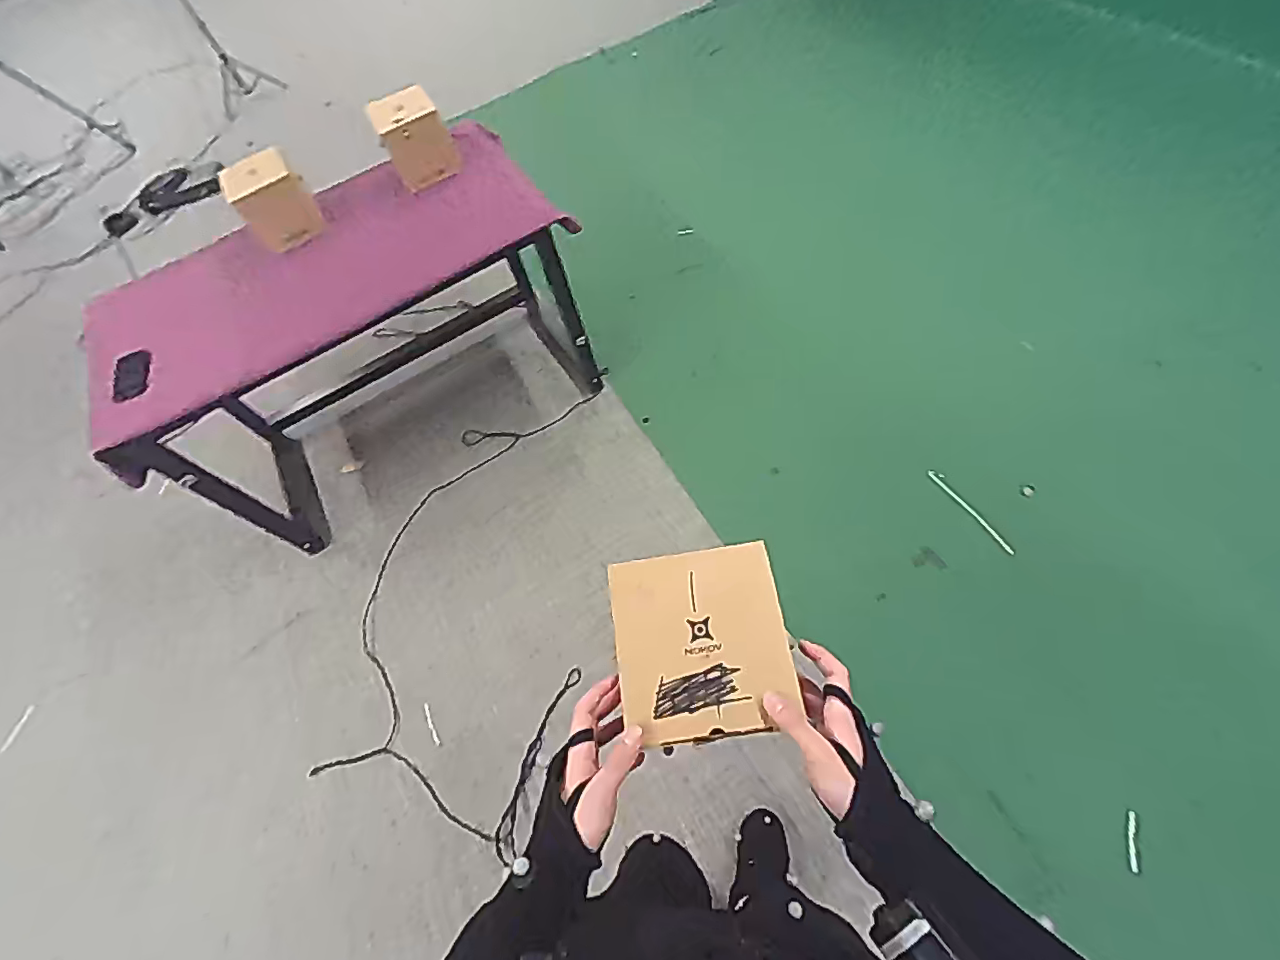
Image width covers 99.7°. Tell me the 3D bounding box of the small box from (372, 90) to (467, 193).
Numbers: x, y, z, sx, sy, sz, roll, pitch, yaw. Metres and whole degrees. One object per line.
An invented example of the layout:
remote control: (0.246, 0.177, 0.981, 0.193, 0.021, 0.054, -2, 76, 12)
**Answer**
small box: (-0.615, -0.946, 1.519, 0.168, 0.176, 0.179, -29, 60, -6)

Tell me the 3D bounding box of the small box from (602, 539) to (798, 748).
small box: (0.058, 0.182, 0.587, 0.168, 0.176, 0.179, -9, 65, 0)

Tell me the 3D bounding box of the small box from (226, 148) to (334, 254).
small box: (-0.976, -0.754, 1.473, 0.168, 0.176, 0.179, -32, 61, -8)
